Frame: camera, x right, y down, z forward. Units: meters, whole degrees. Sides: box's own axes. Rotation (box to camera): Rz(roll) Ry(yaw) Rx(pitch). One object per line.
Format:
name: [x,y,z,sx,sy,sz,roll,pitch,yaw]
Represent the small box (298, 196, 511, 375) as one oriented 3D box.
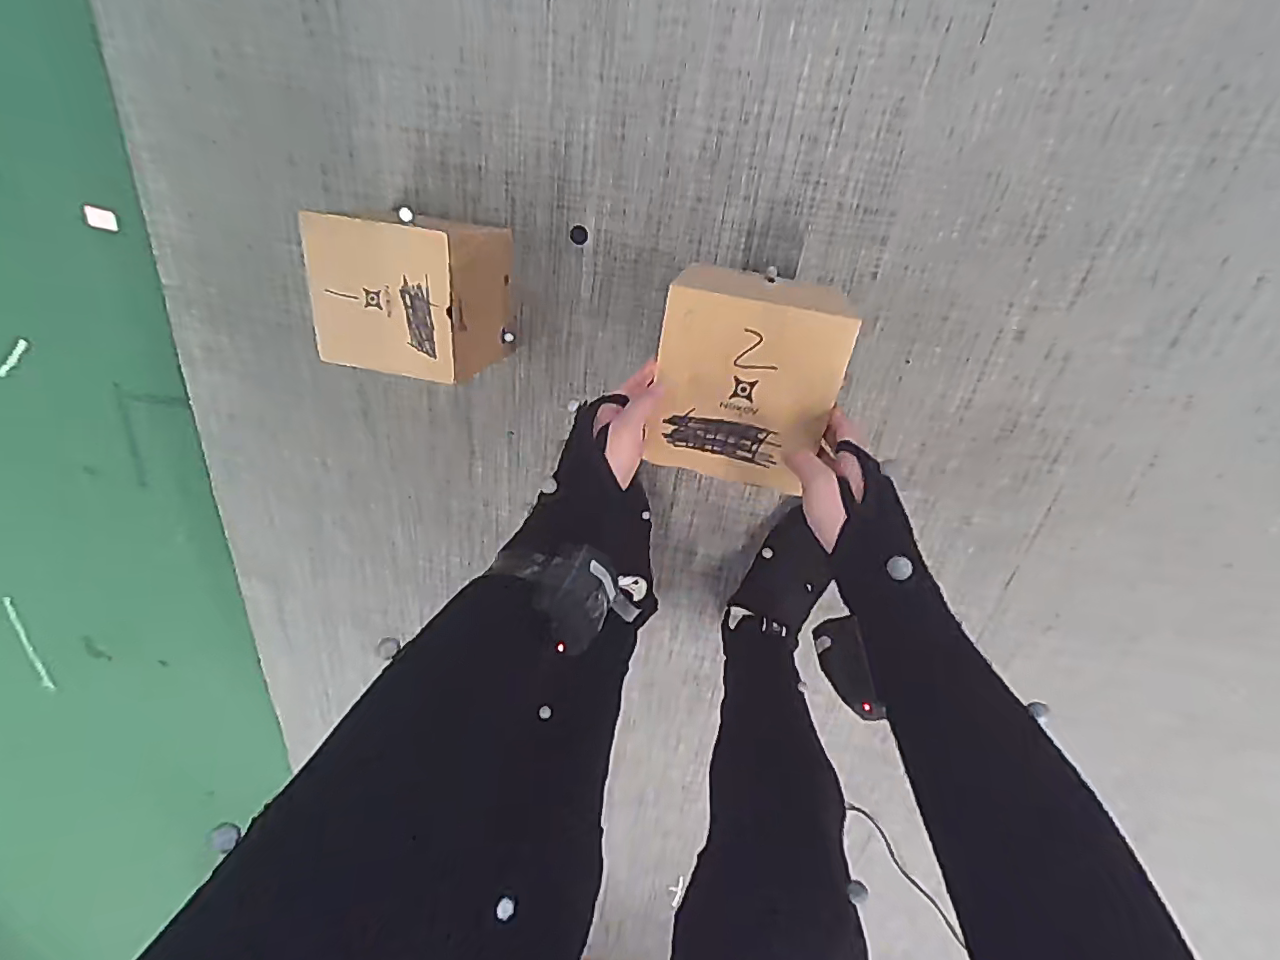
small box: [-0.268,-0.242,0.660,0.179,0.176,0.168,12,117,6]
